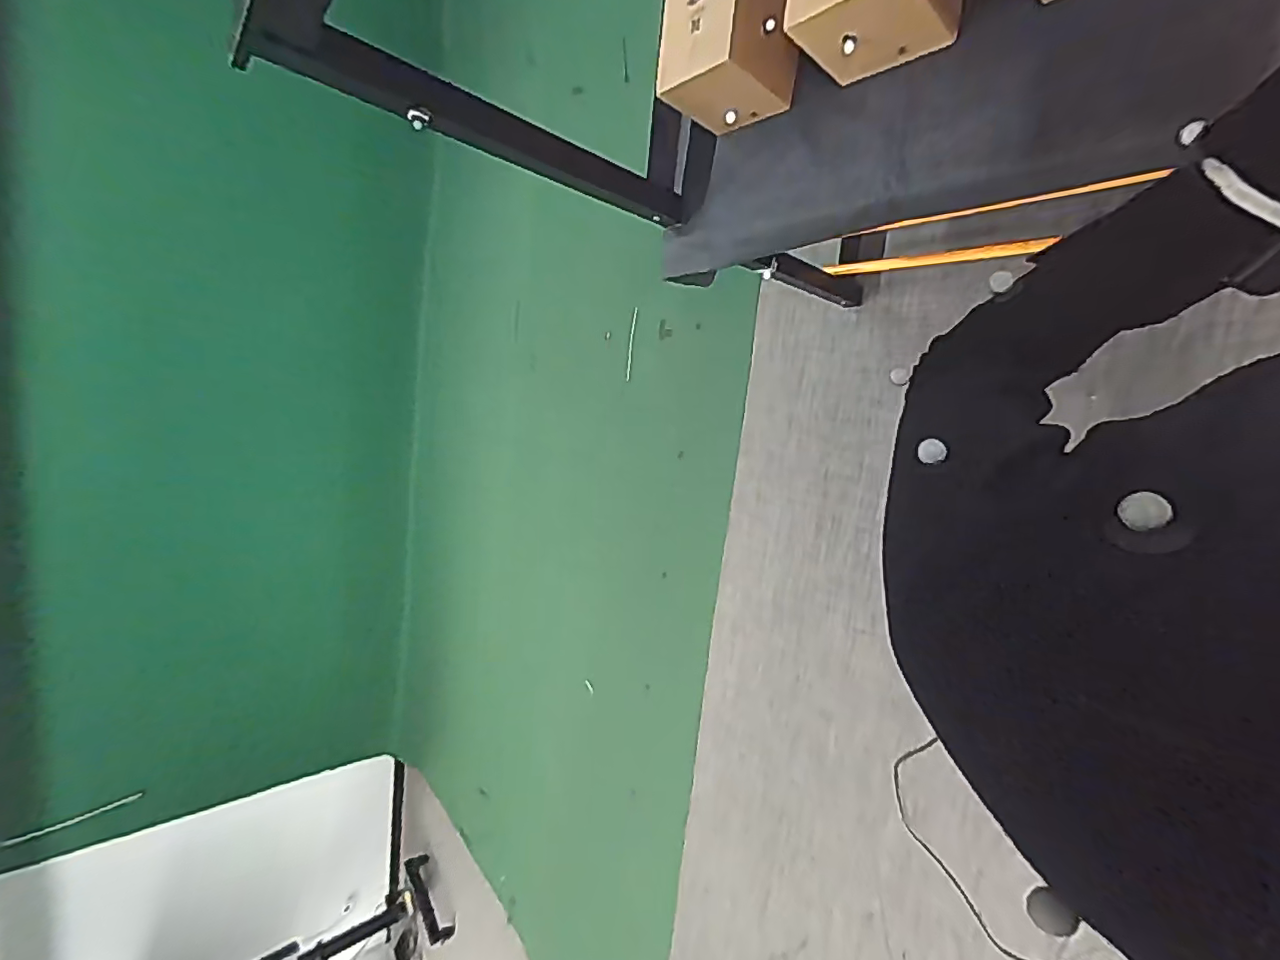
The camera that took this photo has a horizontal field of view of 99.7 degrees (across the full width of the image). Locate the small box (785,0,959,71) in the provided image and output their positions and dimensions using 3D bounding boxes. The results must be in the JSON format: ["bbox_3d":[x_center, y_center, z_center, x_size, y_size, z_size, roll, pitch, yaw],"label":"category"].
[{"bbox_3d":[0.321,-0.693,0.723,0.168,0.176,0.179,15,102,47],"label":"small box"}]

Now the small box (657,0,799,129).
[{"bbox_3d":[0.153,-0.735,0.908,0.168,0.176,0.179,16,103,47],"label":"small box"}]
